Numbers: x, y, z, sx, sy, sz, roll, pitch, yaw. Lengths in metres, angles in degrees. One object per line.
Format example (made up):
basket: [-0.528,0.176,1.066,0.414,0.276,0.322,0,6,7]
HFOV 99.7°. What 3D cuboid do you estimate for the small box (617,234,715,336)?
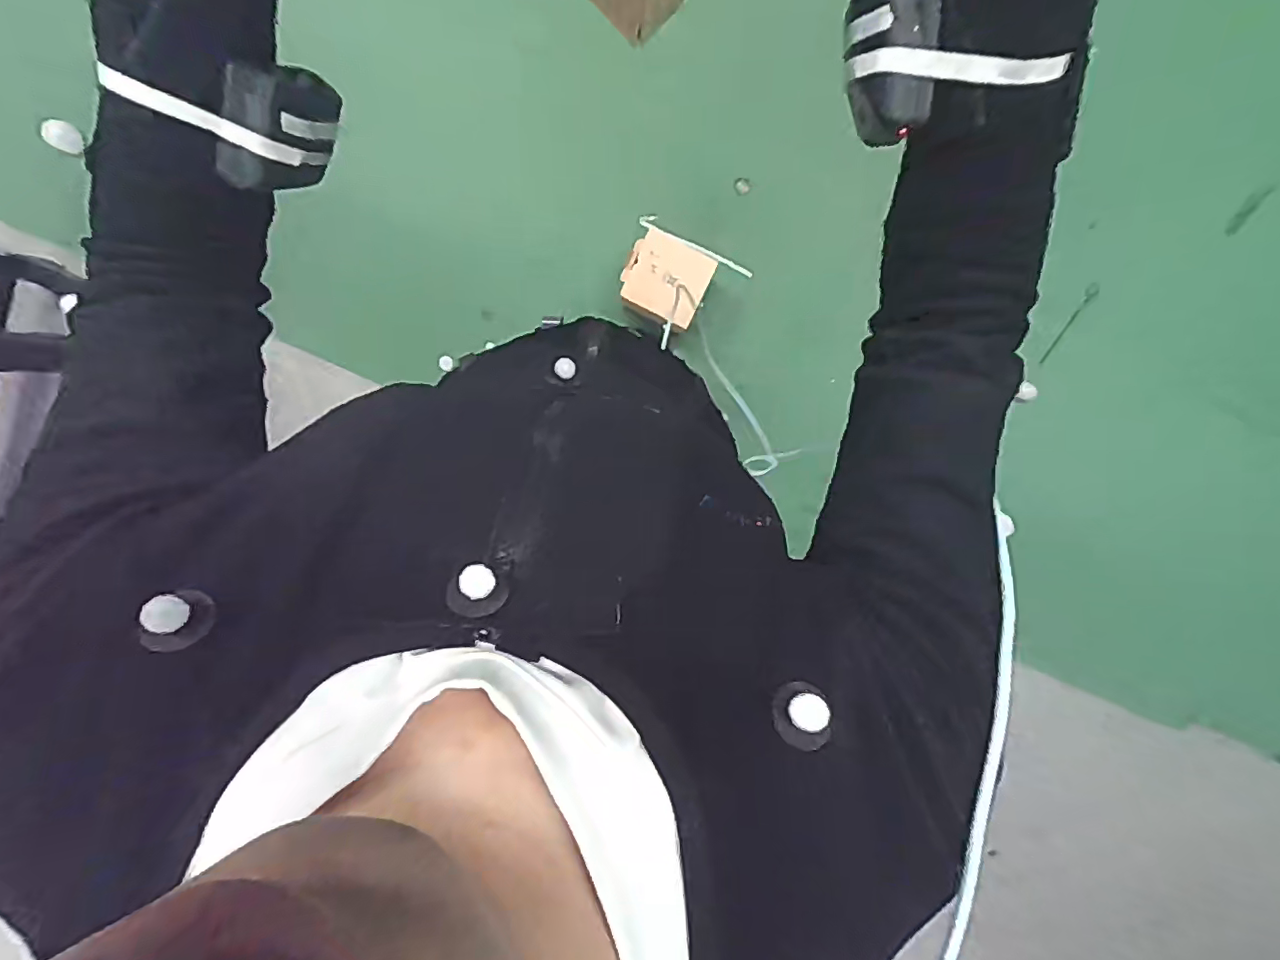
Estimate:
small box: [0.058,-0.460,1.306,0.179,0.176,0.168,26,99,-6]
